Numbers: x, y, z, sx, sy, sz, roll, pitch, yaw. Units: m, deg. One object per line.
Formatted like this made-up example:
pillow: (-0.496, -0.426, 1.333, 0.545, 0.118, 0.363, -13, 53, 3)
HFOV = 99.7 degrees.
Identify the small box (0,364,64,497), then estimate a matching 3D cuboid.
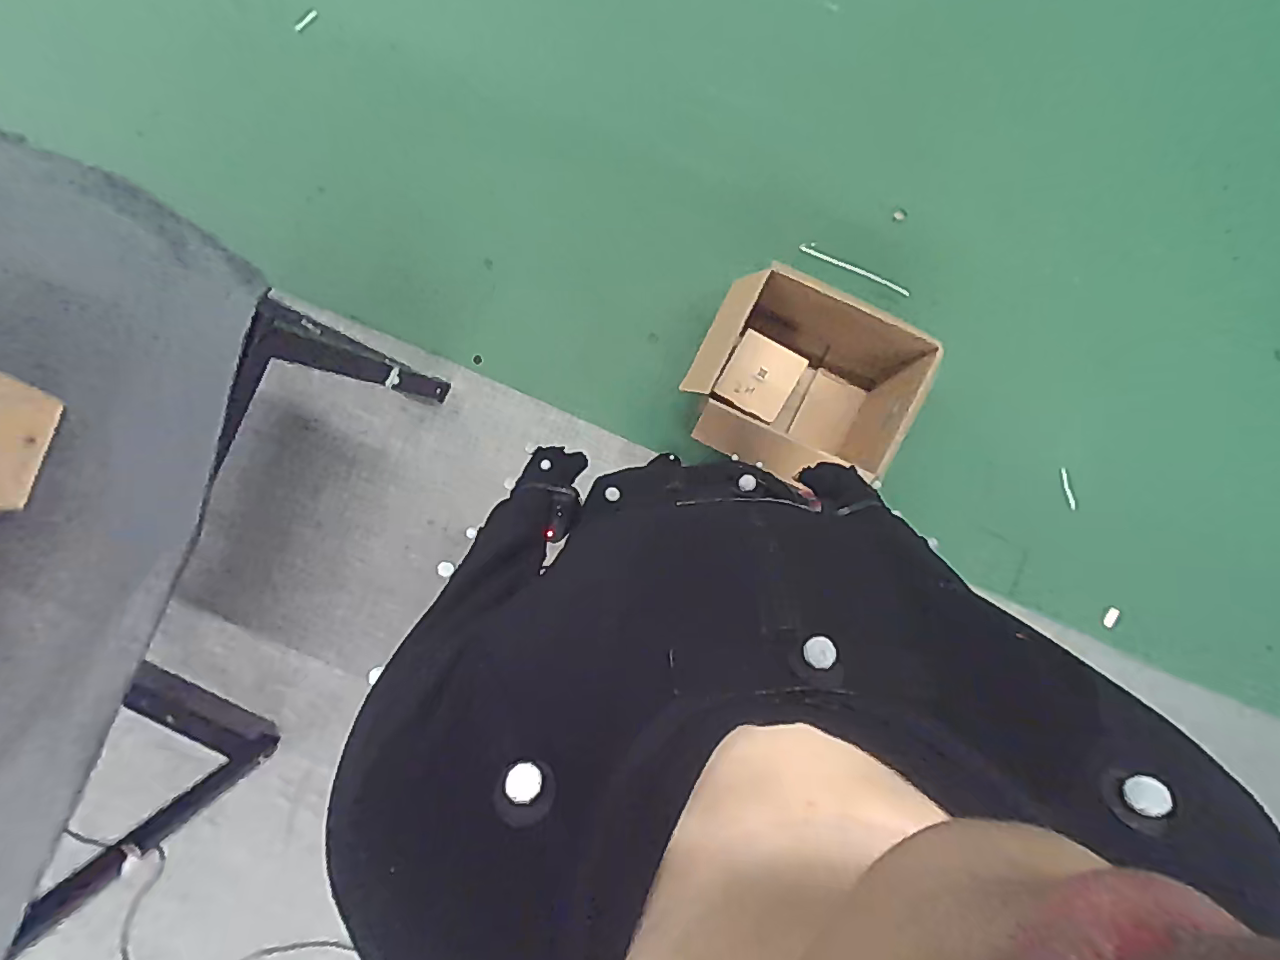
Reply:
small box: (-0.916, -0.076, 0.689, 0.179, 0.176, 0.168, 25, 93, 1)
